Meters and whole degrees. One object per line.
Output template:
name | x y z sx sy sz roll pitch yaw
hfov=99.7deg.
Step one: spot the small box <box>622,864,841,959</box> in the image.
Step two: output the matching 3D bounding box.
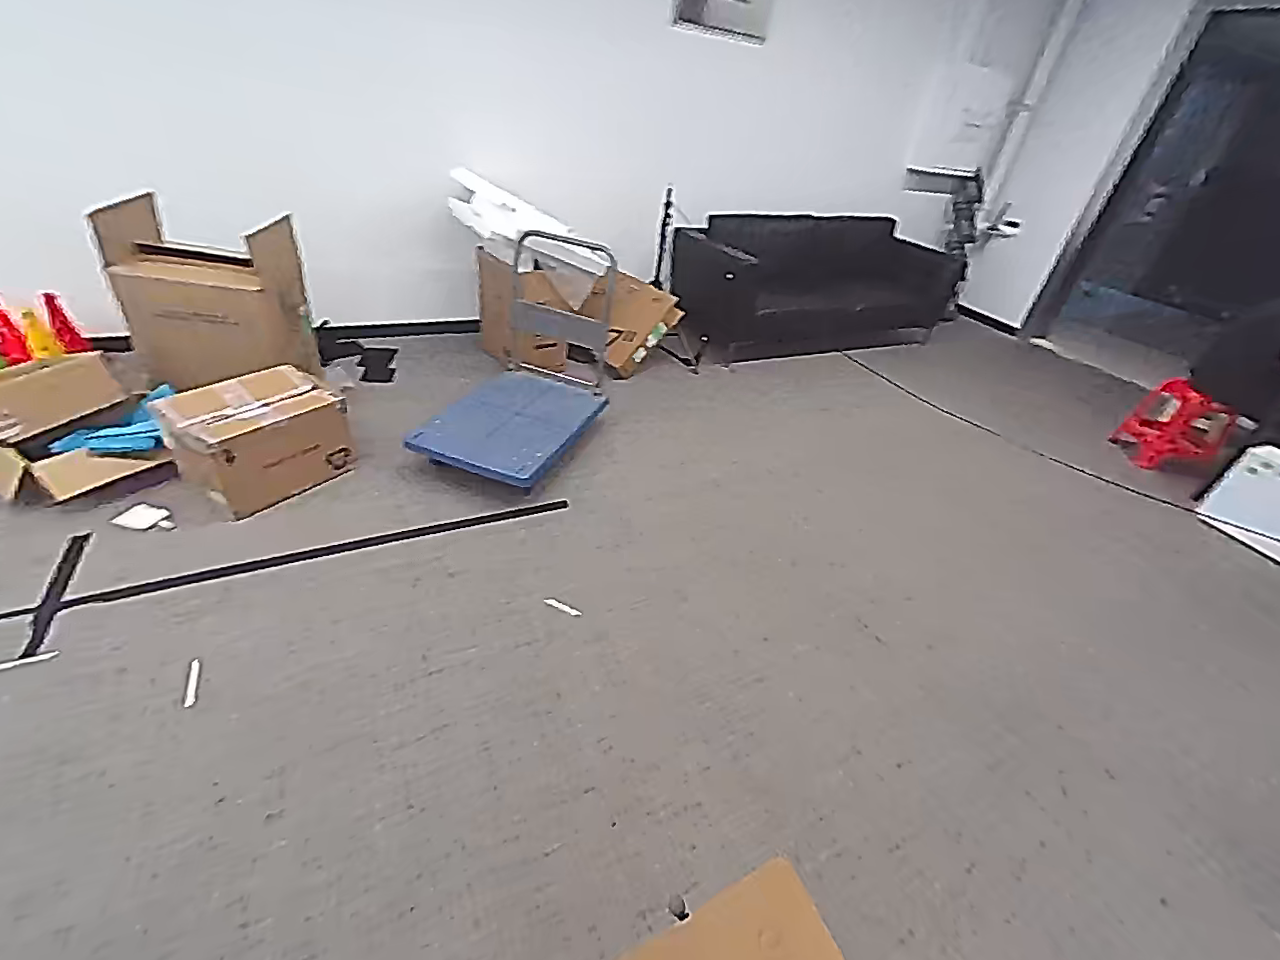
small box | 0.049 0.392 0.348 0.179 0.176 0.168 -16 50 -24
